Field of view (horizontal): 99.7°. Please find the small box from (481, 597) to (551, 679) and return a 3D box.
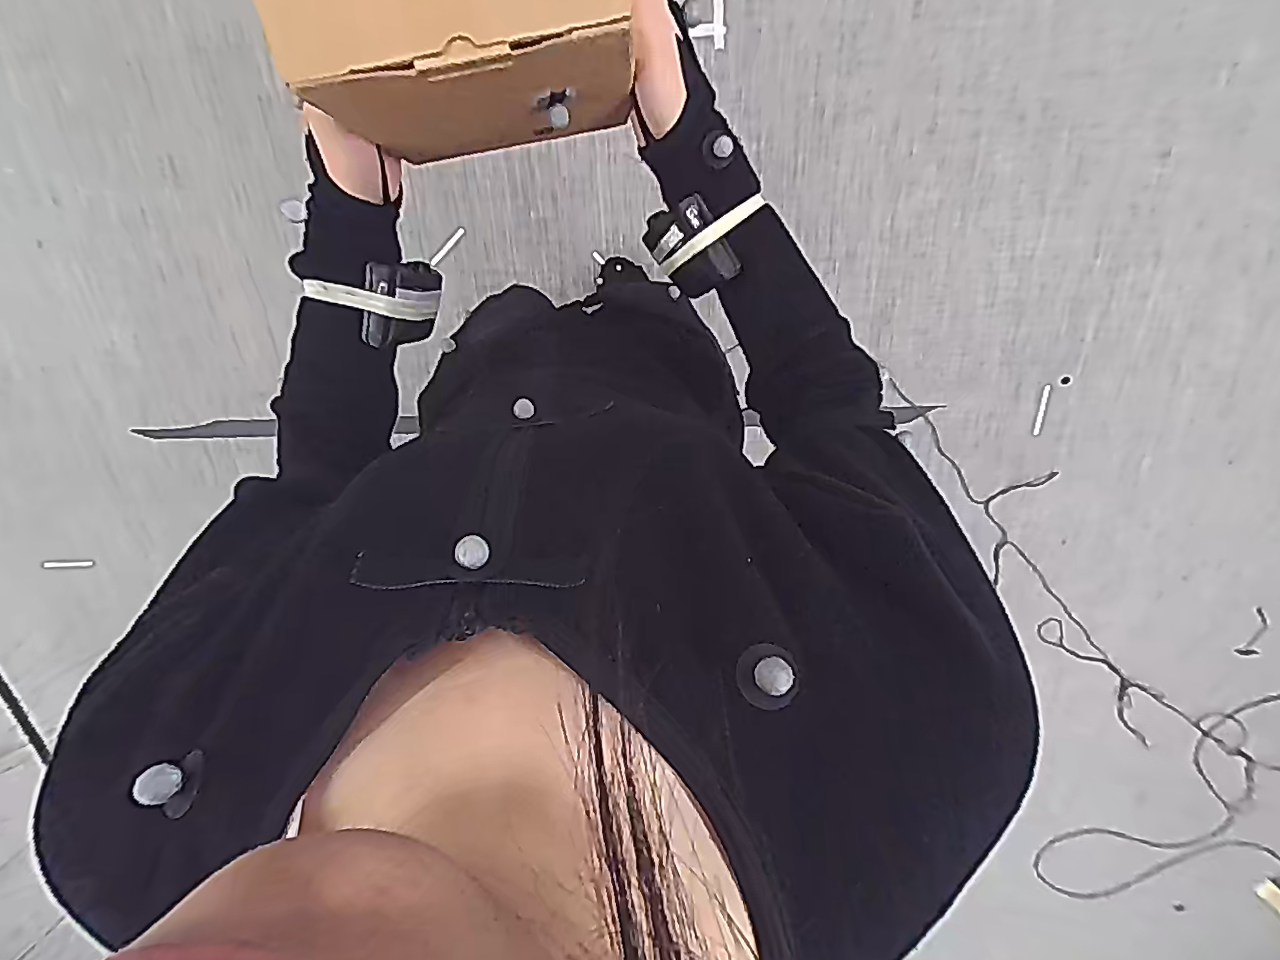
[{"bbox_3d":[-0.369,0.477,1.642,0.168,0.176,0.179,-3,111,1],"label":"small box"}]
